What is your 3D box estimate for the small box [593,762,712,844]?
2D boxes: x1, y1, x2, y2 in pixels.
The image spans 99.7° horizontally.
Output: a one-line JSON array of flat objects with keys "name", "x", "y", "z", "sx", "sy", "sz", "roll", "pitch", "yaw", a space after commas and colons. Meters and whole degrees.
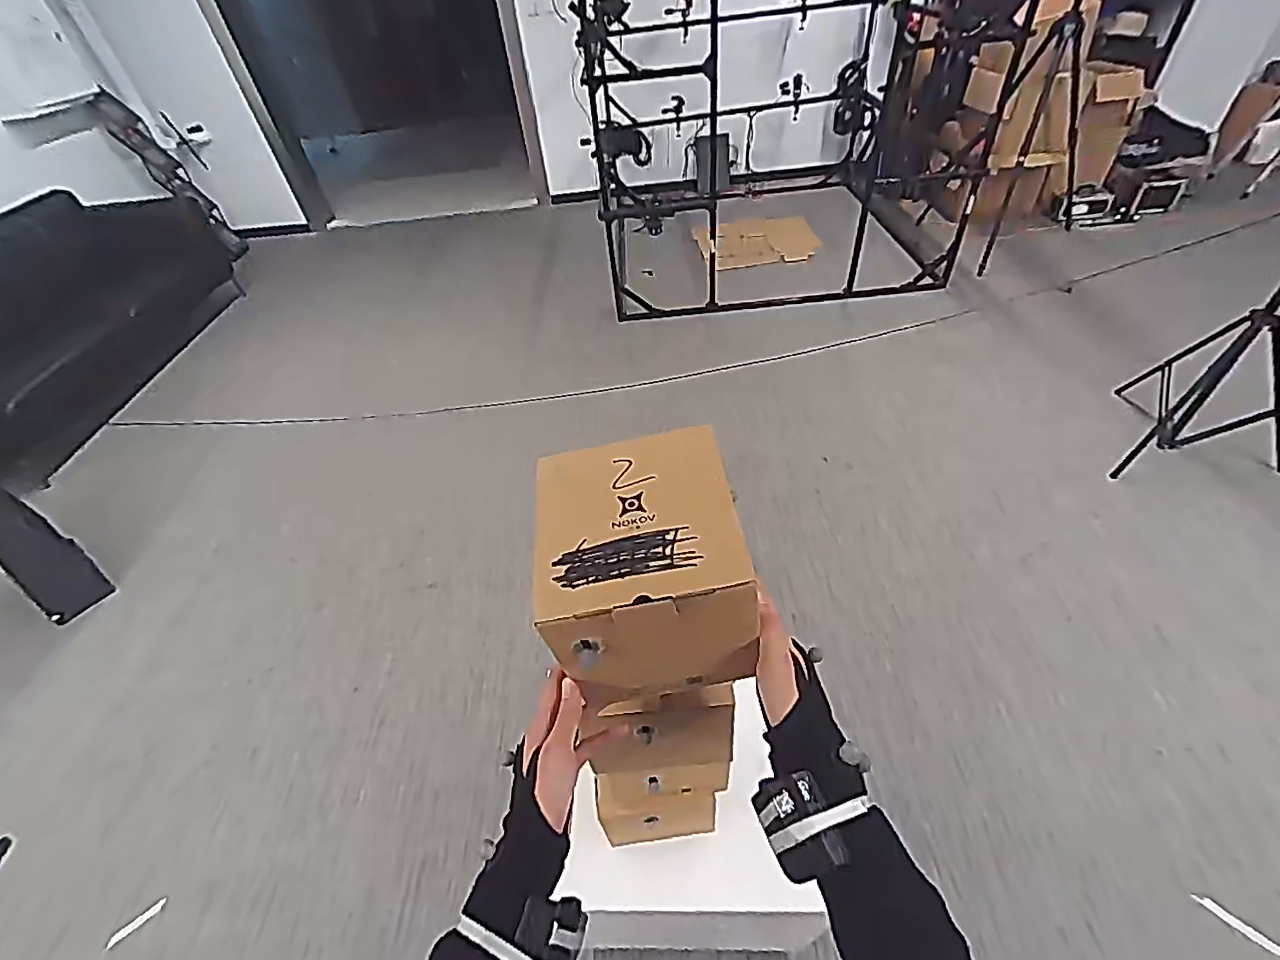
[{"name": "small box", "x": 0.020, "y": 0.481, "z": 0.896, "sx": 0.179, "sy": 0.176, "sz": 0.168, "roll": -7, "pitch": 44, "yaw": -2}]

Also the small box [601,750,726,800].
[{"name": "small box", "x": 0.031, "y": 0.351, "z": 0.795, "sx": 0.168, "sy": 0.176, "sz": 0.179, "roll": -7, "pitch": 43, "yaw": -1}]

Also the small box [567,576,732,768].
[{"name": "small box", "x": 0.015, "y": 0.242, "z": 0.672, "sx": 0.179, "sy": 0.176, "sz": 0.168, "roll": -5, "pitch": 44, "yaw": 1}]
